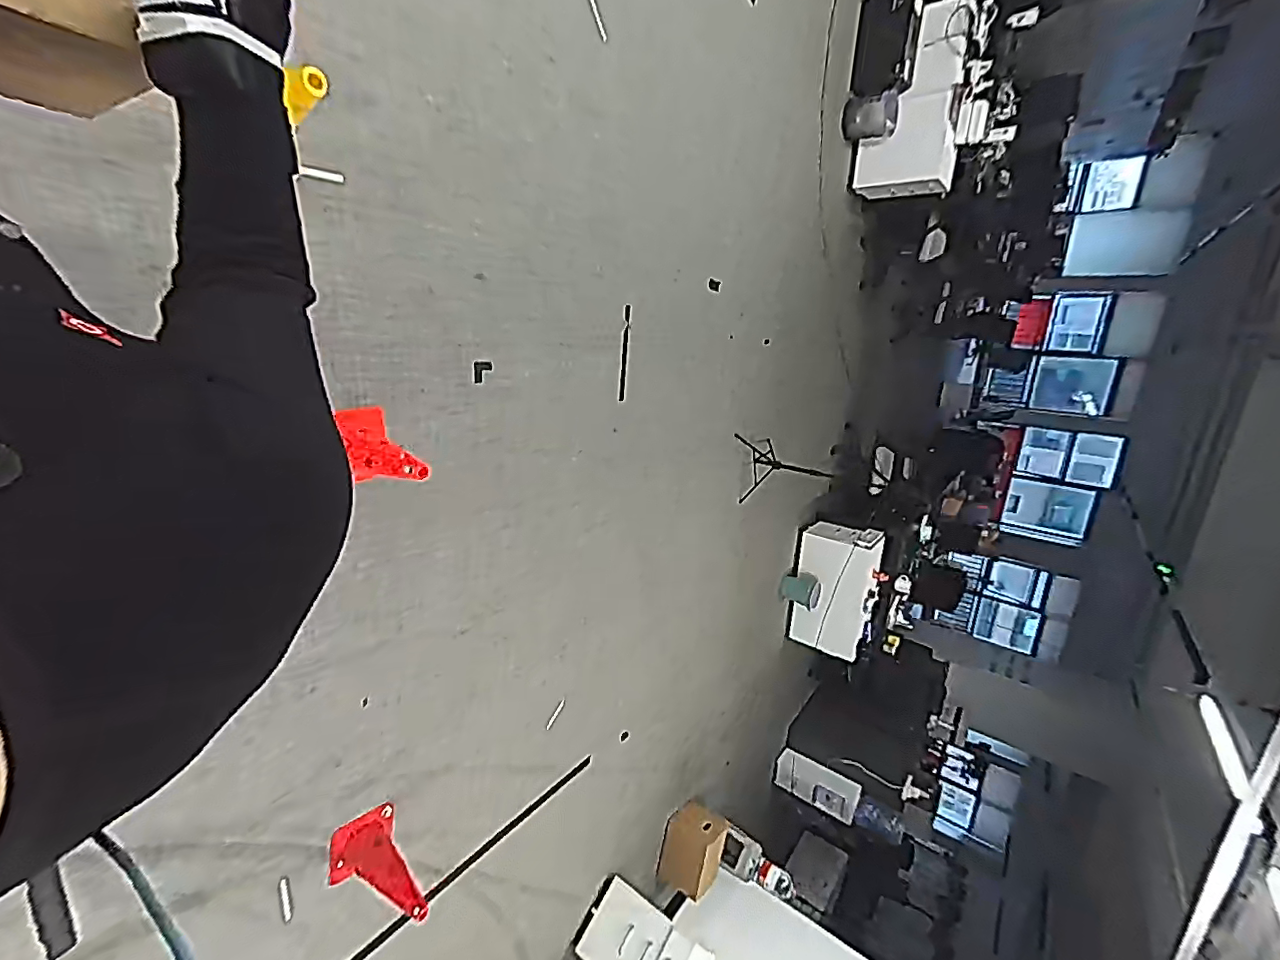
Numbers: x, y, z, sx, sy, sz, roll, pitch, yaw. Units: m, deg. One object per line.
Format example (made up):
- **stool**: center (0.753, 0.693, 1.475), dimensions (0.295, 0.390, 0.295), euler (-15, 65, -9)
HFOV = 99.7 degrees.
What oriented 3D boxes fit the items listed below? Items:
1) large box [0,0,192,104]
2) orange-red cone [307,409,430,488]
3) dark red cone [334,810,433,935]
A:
- **large box**: center (-0.536, -0.450, 0.265), dimensions (0.408, 0.320, 0.320), euler (-14, 117, -53)
- **orange-red cone**: center (-0.649, -0.056, 1.361), dimensions (0.198, 0.360, 0.199), euler (-20, 116, -51)
- **dark red cone**: center (-0.747, 1.212, 1.629), dimensions (0.201, 0.394, 0.202), euler (-7, 107, -52)
